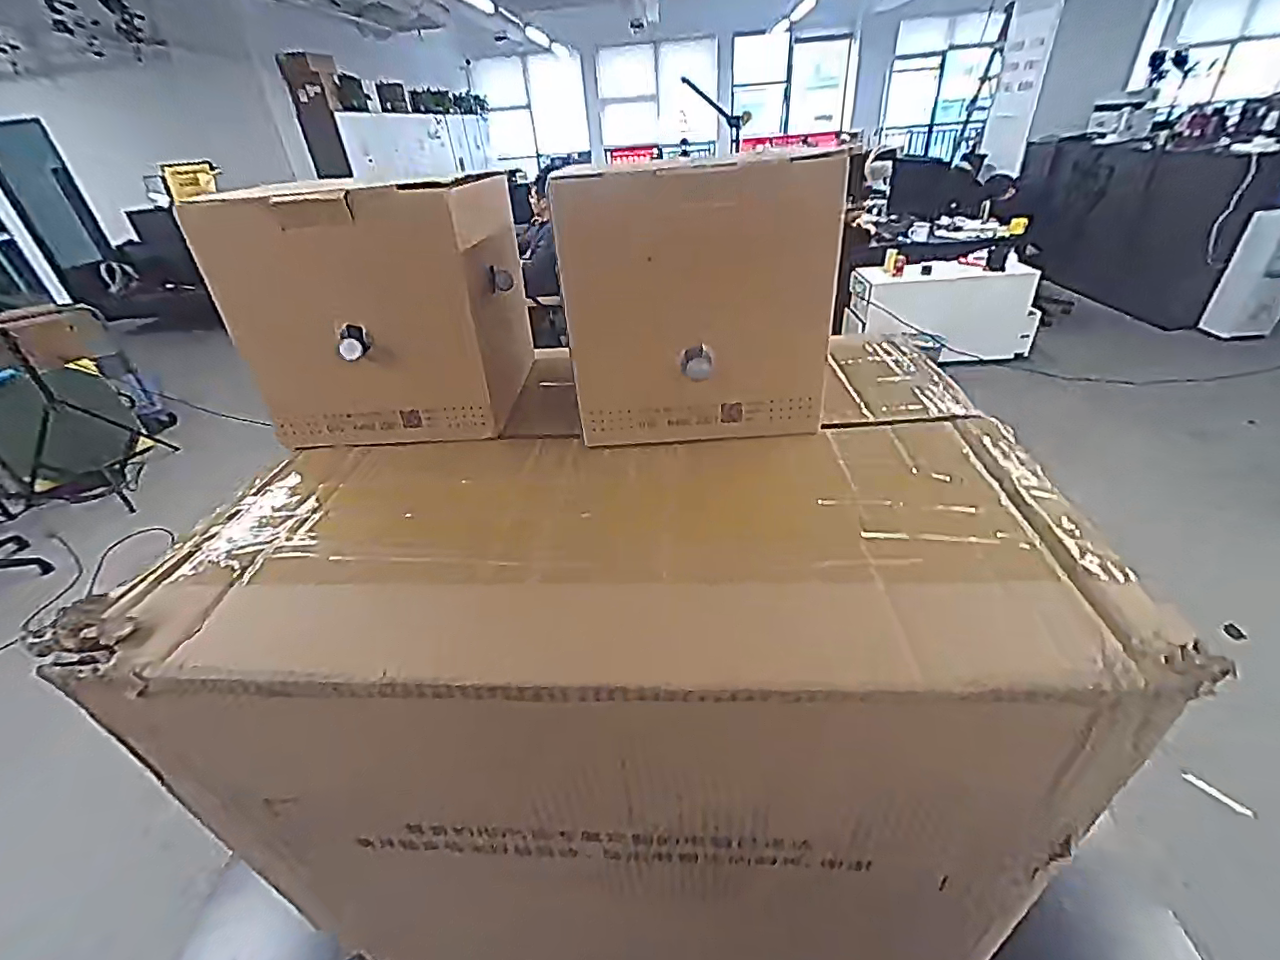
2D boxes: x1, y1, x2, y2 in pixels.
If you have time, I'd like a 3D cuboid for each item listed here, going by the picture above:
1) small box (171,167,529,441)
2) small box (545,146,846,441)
[{"bbox_3d":[-0.190,-0.138,0.426,0.168,0.176,0.179,-3,33,1],"label":"small box"},{"bbox_3d":[0.036,-0.142,0.401,0.168,0.176,0.179,-3,32,3],"label":"small box"}]
